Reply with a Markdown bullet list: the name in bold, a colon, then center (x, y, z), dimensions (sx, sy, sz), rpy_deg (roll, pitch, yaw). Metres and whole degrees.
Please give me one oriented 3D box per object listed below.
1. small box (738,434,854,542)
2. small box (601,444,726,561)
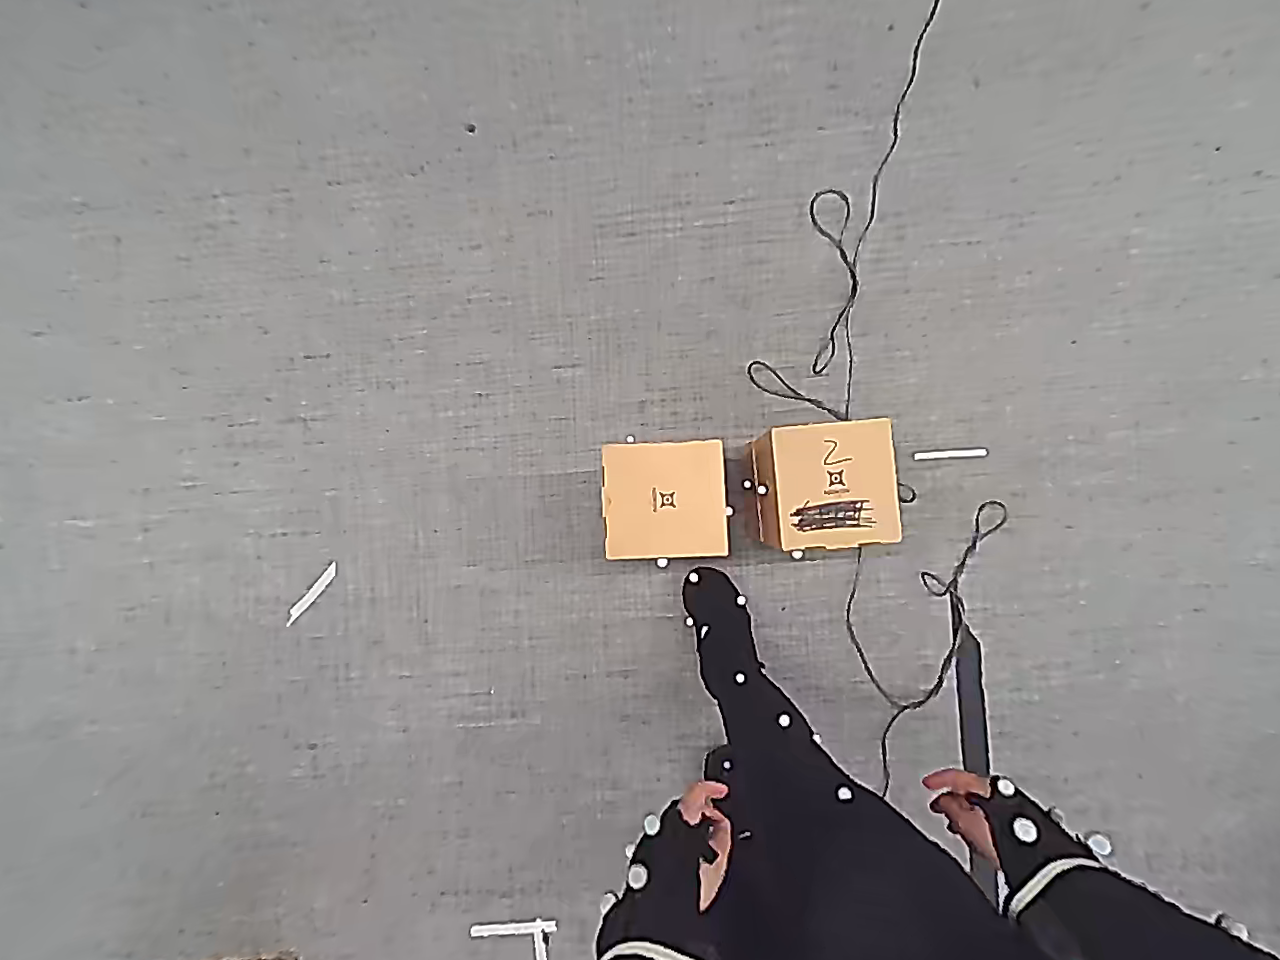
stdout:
- **small box**: center (0.278, 0.018, 0.997), dimensions (0.168, 0.176, 0.179), rpy_deg (-5, 88, 3)
- **small box**: center (0.038, 0.034, 0.849), dimensions (0.179, 0.176, 0.168), rpy_deg (-3, 87, 5)
